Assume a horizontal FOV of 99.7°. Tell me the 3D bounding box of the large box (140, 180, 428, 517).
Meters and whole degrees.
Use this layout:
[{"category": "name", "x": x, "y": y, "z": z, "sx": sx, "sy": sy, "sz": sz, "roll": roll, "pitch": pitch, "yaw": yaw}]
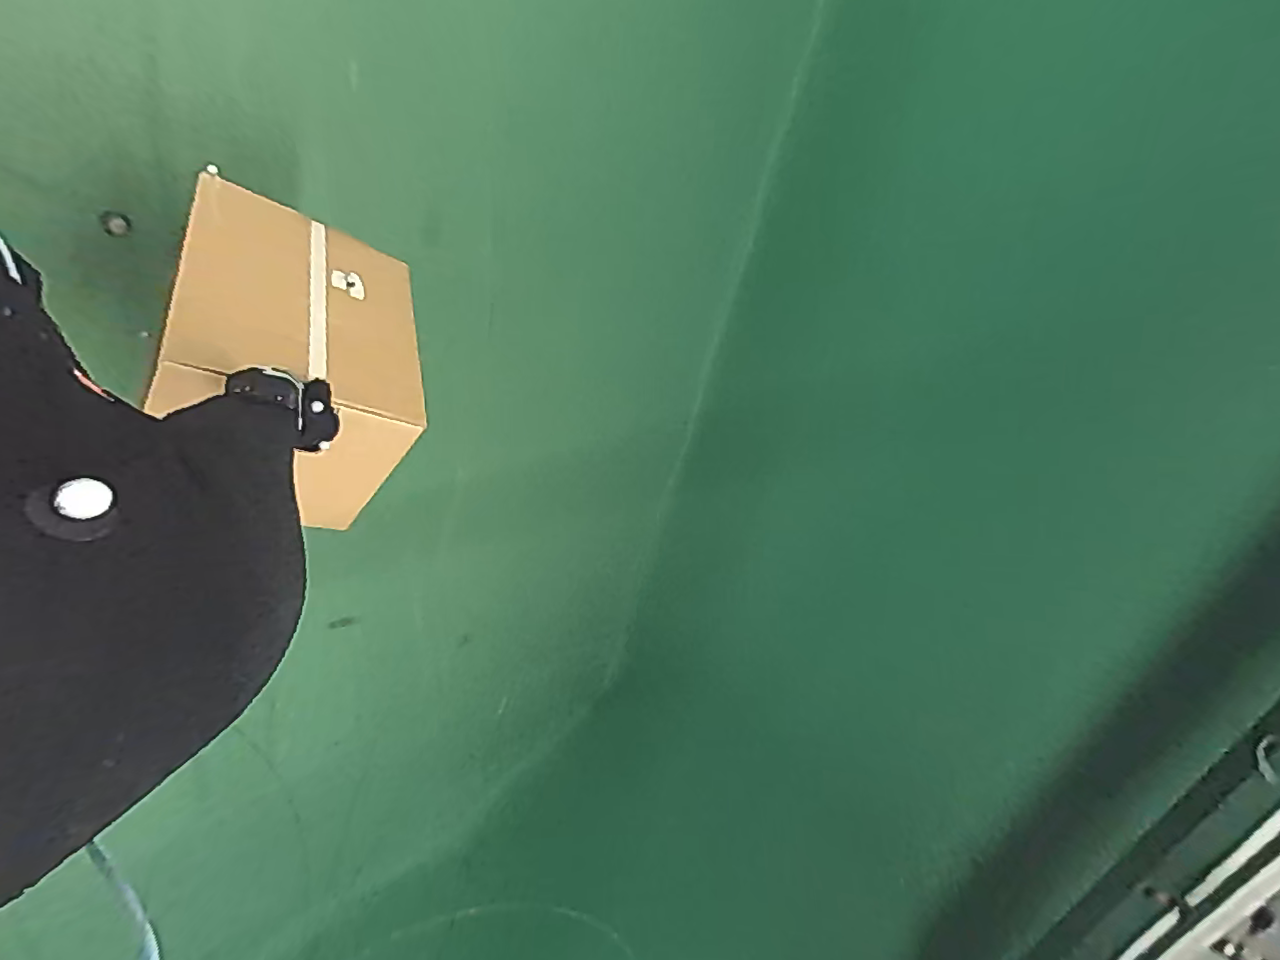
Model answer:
[{"category": "large box", "x": -0.593, "y": -0.191, "z": 0.908, "sx": 0.320, "sy": 0.408, "sz": 0.320, "roll": 14, "pitch": 136, "yaw": -44}]
